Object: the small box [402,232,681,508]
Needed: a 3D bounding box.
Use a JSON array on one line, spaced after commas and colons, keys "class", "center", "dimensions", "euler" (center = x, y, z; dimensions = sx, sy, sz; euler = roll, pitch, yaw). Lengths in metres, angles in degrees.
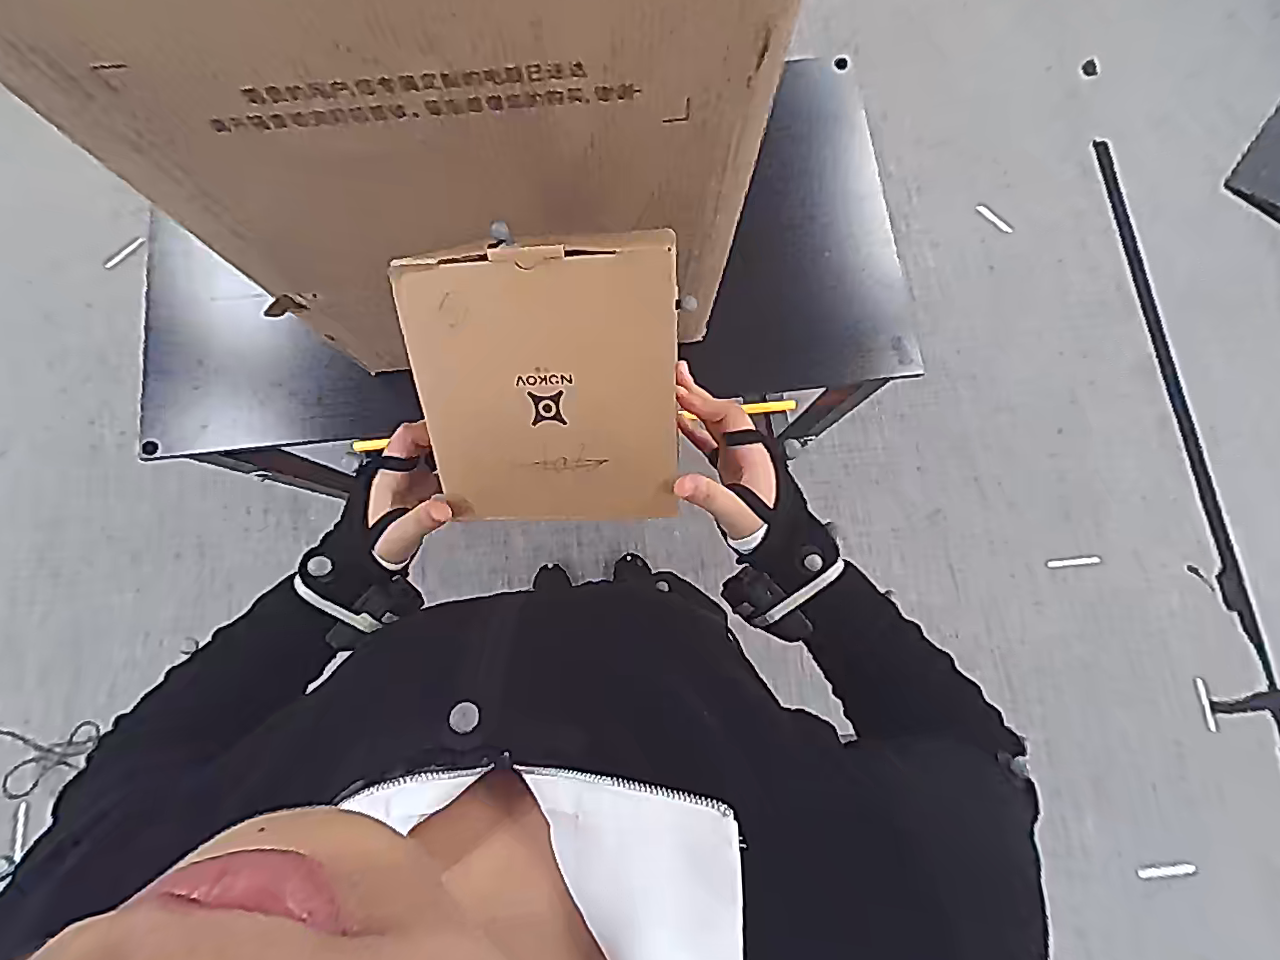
[{"class": "small box", "center": [-0.053, -0.094, 0.419], "dimensions": [0.168, 0.176, 0.179], "euler": [-1, 116, 4]}]
